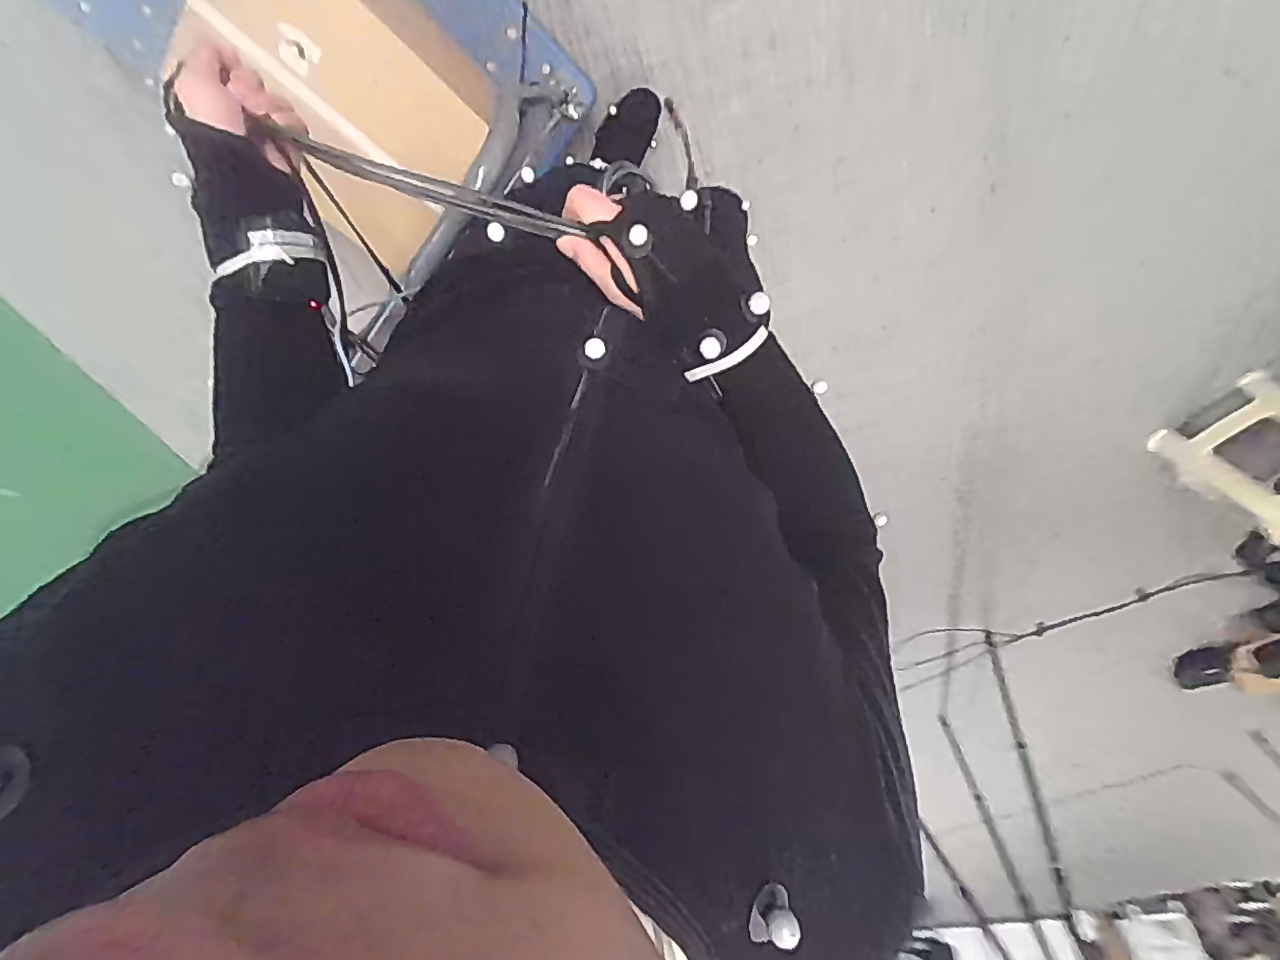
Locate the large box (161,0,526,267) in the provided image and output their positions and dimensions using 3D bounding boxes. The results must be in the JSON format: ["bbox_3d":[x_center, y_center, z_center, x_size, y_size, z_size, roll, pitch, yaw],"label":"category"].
[{"bbox_3d":[-0.465,-0.664,0.934,0.408,0.320,0.320,37,120,-28],"label":"large box"}]
